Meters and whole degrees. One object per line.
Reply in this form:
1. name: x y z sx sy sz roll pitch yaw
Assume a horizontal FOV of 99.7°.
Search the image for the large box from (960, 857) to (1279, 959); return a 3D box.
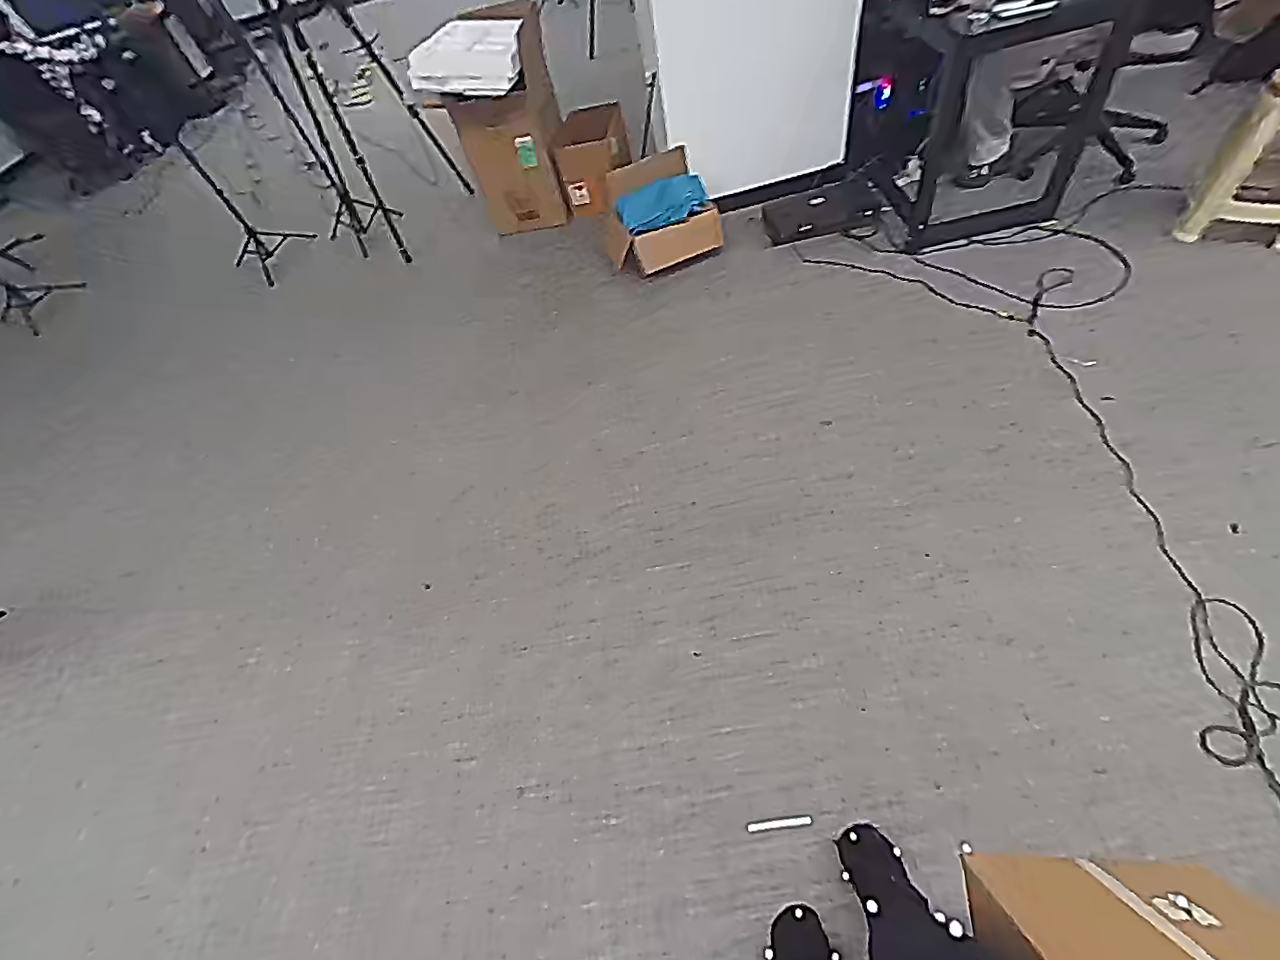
1. large box: 0.604 0.665 0.568 0.320 0.408 0.320 -3 76 10
